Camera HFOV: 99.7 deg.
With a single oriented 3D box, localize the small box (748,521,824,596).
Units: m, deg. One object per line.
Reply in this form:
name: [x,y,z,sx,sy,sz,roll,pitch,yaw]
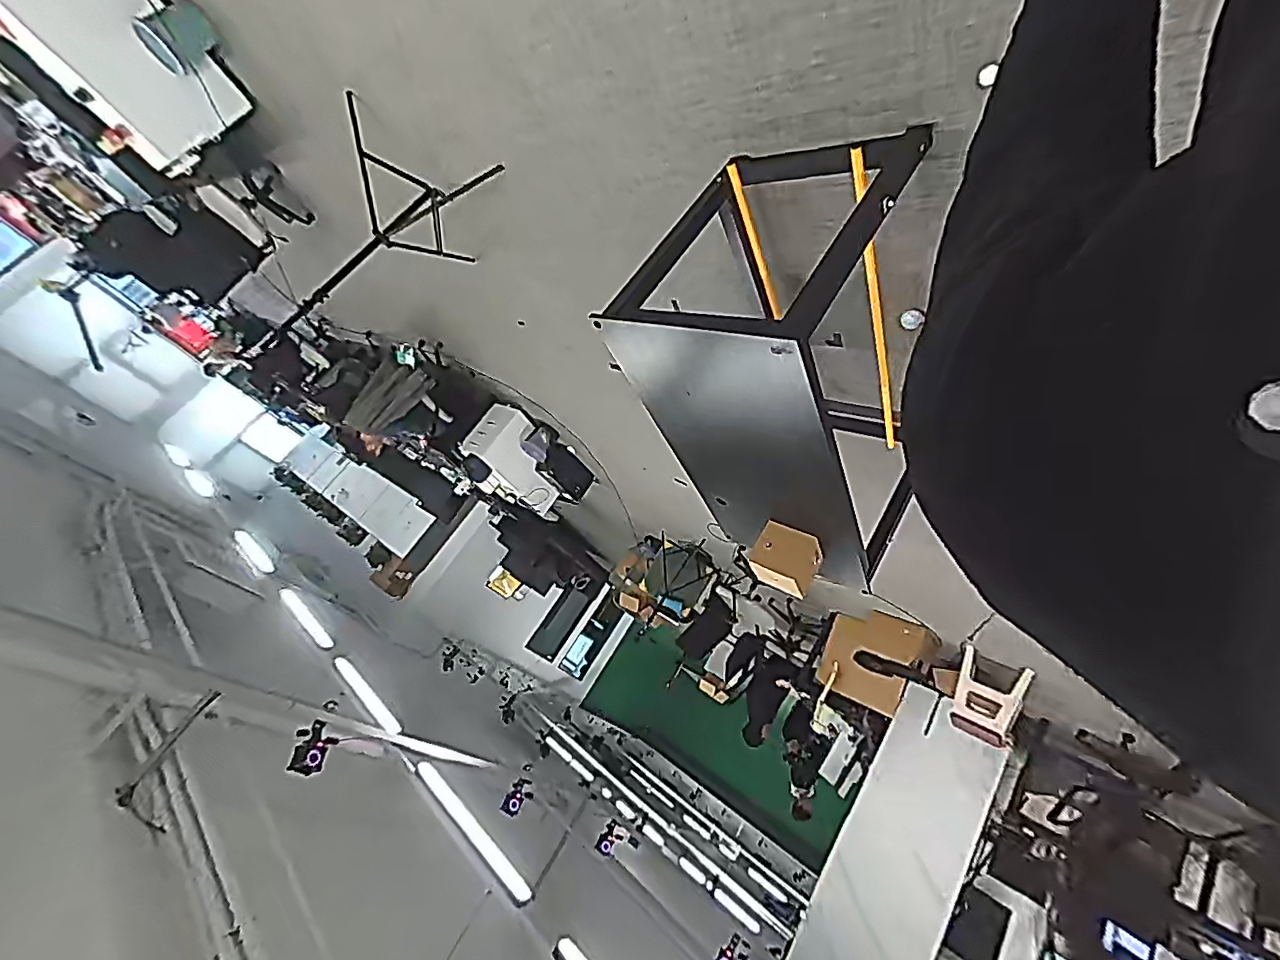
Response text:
small box: [0.498,0.259,1.828,0.179,0.176,0.168,20,159,38]
